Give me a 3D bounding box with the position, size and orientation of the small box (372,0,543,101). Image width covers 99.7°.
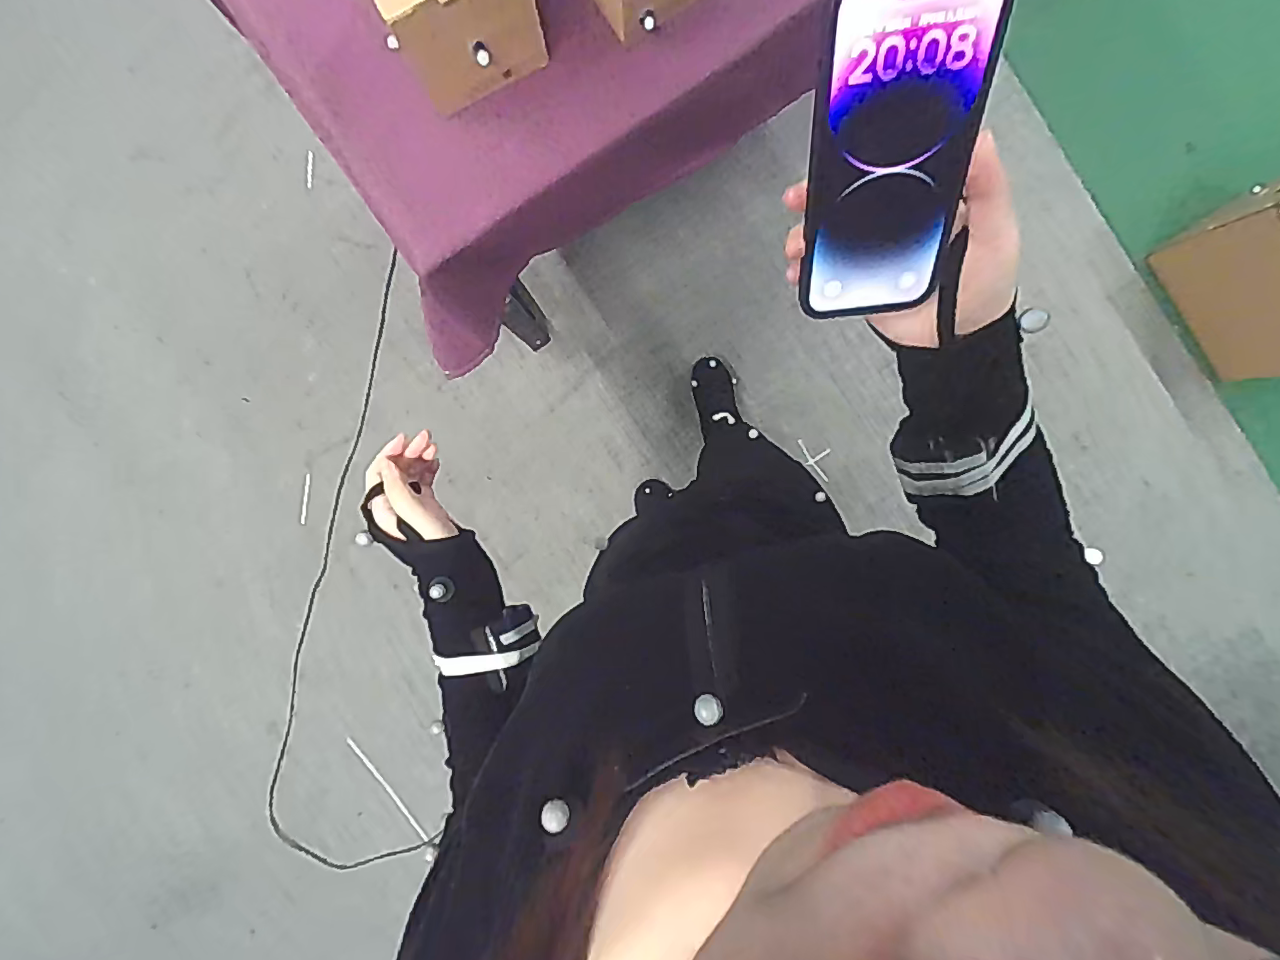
[{"bbox_3d":[-0.233,-0.598,0.642,0.168,0.176,0.179,-26,93,2],"label":"small box"}]

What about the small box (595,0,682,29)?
[{"bbox_3d":[-0.001,-0.689,0.634,0.168,0.176,0.179,-33,92,2],"label":"small box"}]
